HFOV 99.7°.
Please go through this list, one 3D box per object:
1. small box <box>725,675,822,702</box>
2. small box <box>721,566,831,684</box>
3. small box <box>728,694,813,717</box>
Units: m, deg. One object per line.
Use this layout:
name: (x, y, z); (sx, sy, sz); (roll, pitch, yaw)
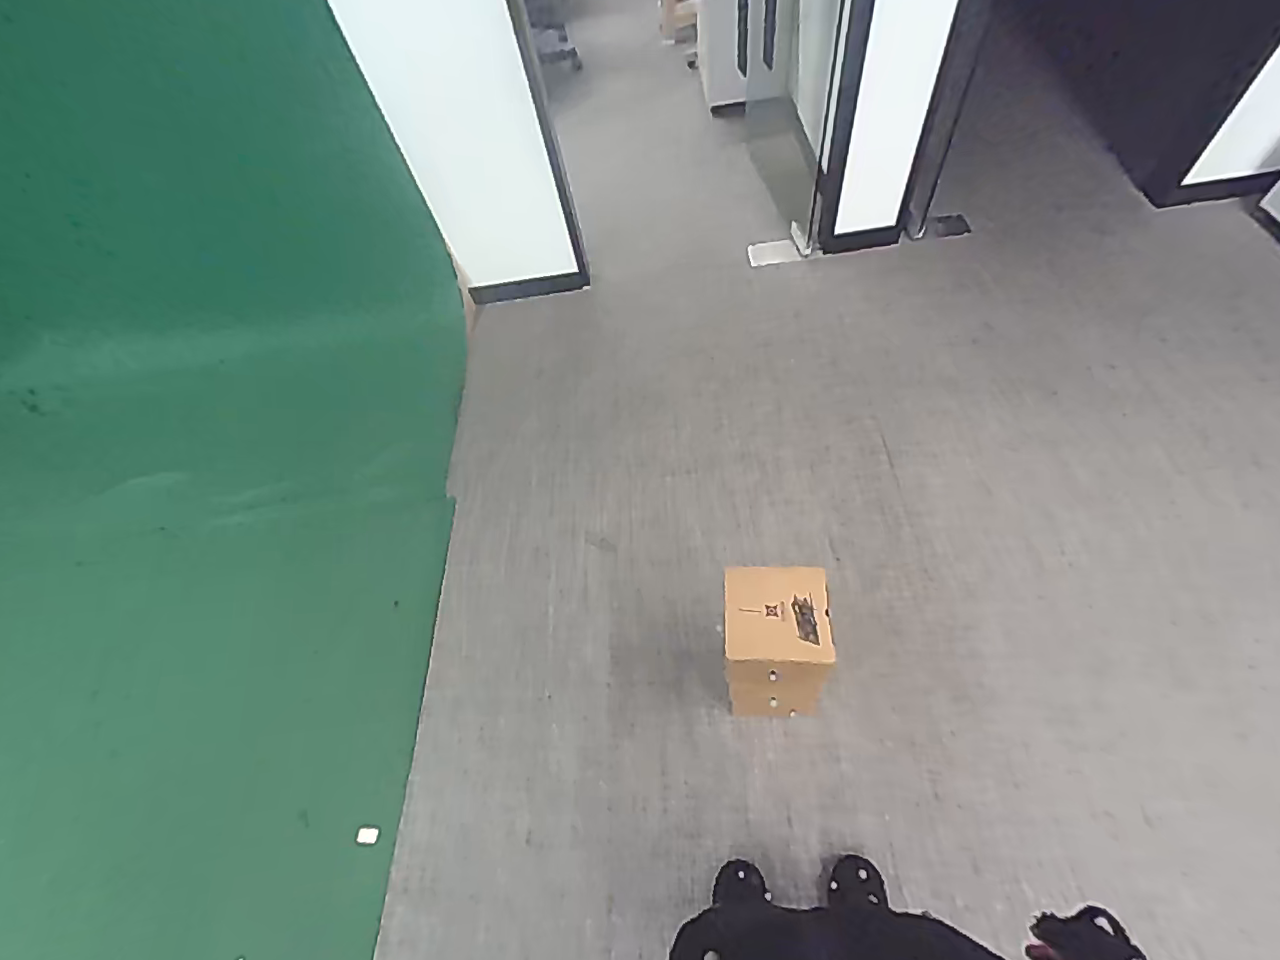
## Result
small box: (0.266, 0.356, 1.120); (0.179, 0.176, 0.168); (-1, 57, 8)
small box: (0.240, 0.267, 0.984); (0.179, 0.176, 0.168); (-1, 57, 11)
small box: (0.292, 0.447, 1.255); (0.179, 0.176, 0.168); (-4, 56, 8)
